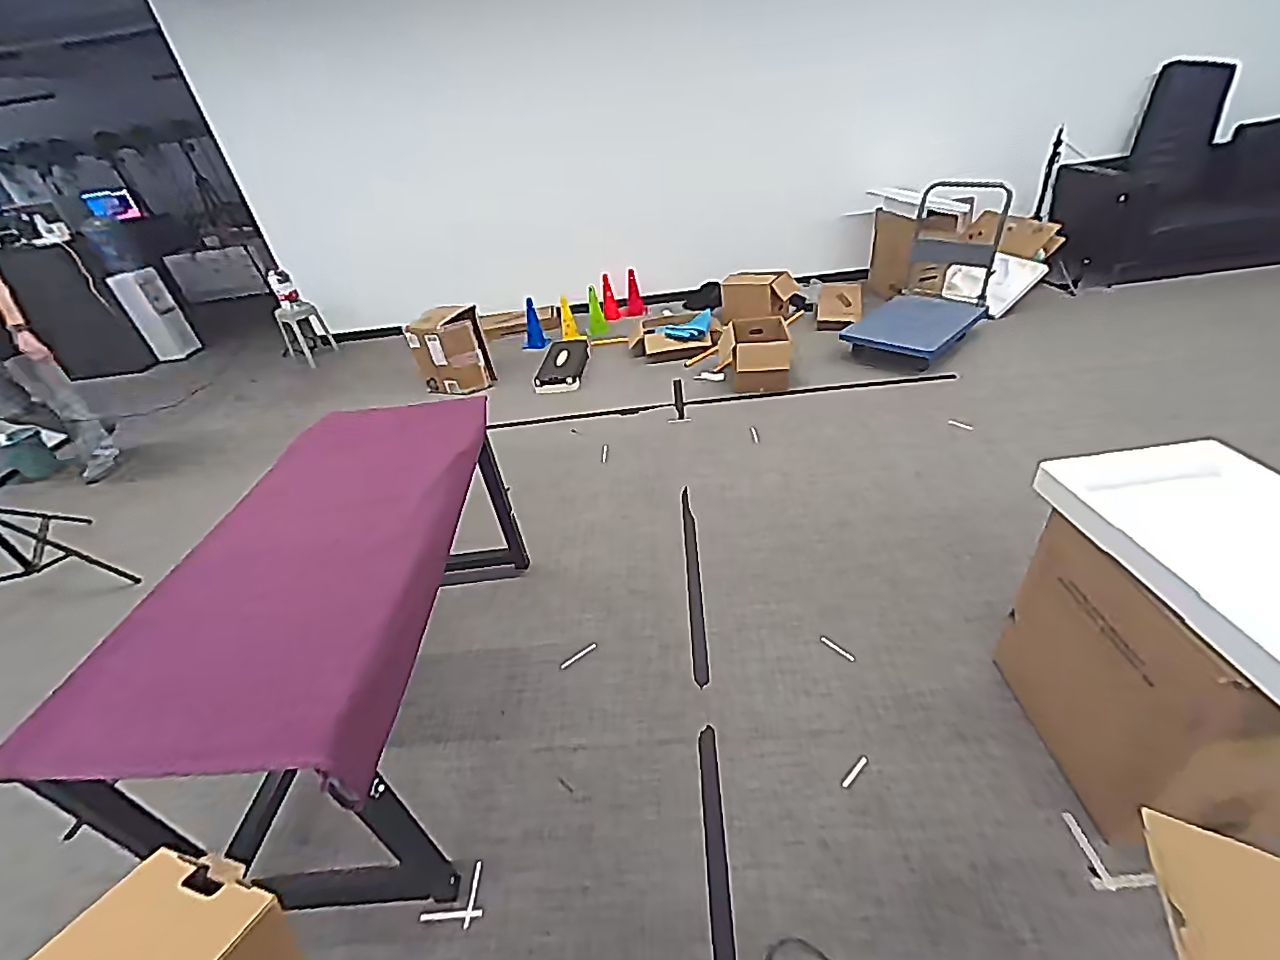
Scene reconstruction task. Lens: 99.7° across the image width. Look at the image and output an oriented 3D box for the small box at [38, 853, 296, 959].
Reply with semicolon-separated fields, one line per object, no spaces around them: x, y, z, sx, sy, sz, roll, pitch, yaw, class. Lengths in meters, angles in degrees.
-0.429;0.487;0.474;0.168;0.176;0.179;3;21;19;small box
